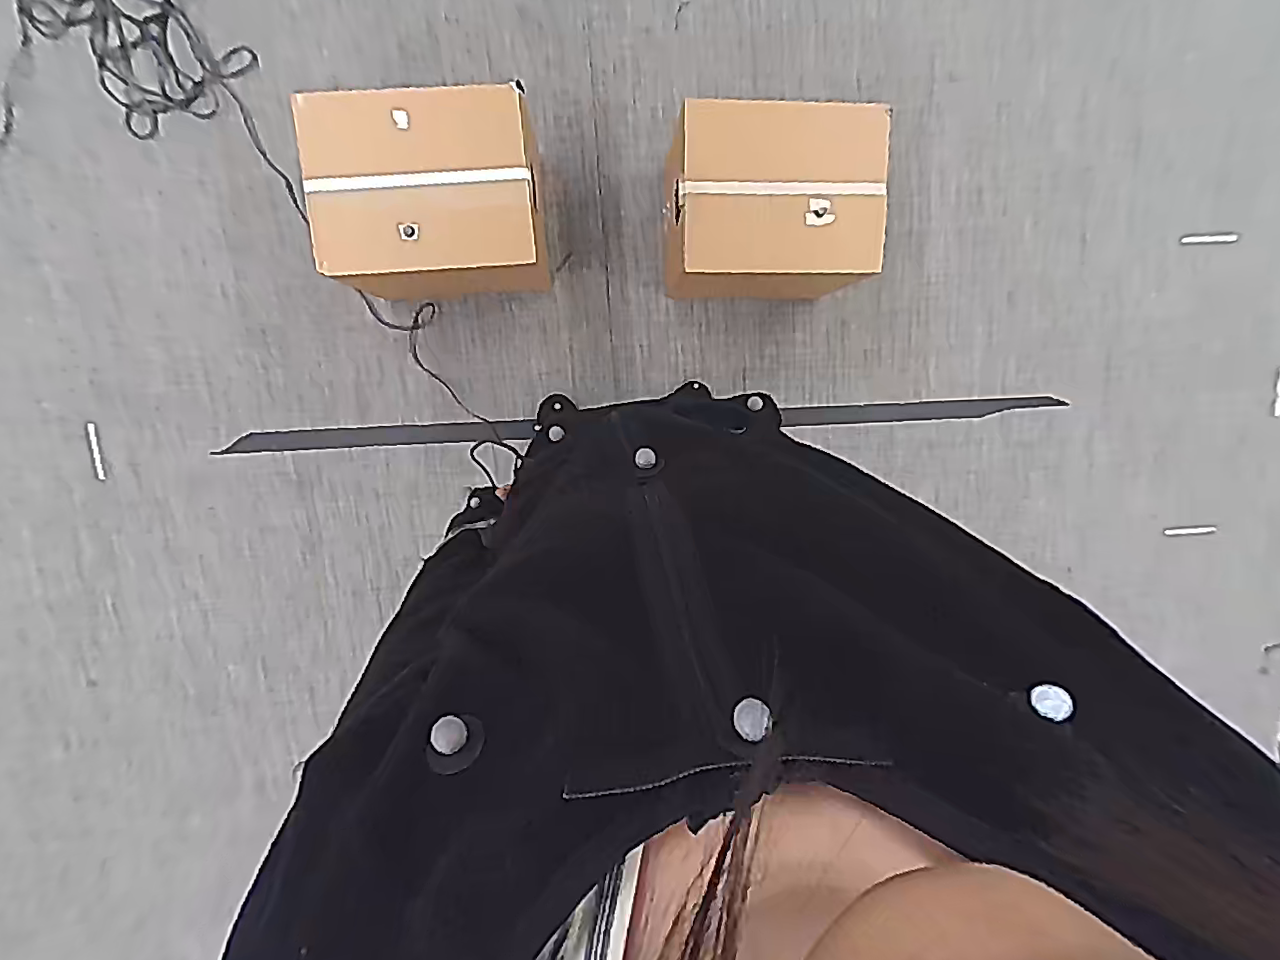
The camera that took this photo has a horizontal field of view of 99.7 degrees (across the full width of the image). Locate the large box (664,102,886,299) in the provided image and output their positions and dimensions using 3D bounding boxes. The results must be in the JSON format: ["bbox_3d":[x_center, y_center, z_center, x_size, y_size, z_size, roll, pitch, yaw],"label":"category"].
[{"bbox_3d":[0.272,-0.592,1.206,0.408,0.320,0.320,-1,100,-5],"label":"large box"}]
